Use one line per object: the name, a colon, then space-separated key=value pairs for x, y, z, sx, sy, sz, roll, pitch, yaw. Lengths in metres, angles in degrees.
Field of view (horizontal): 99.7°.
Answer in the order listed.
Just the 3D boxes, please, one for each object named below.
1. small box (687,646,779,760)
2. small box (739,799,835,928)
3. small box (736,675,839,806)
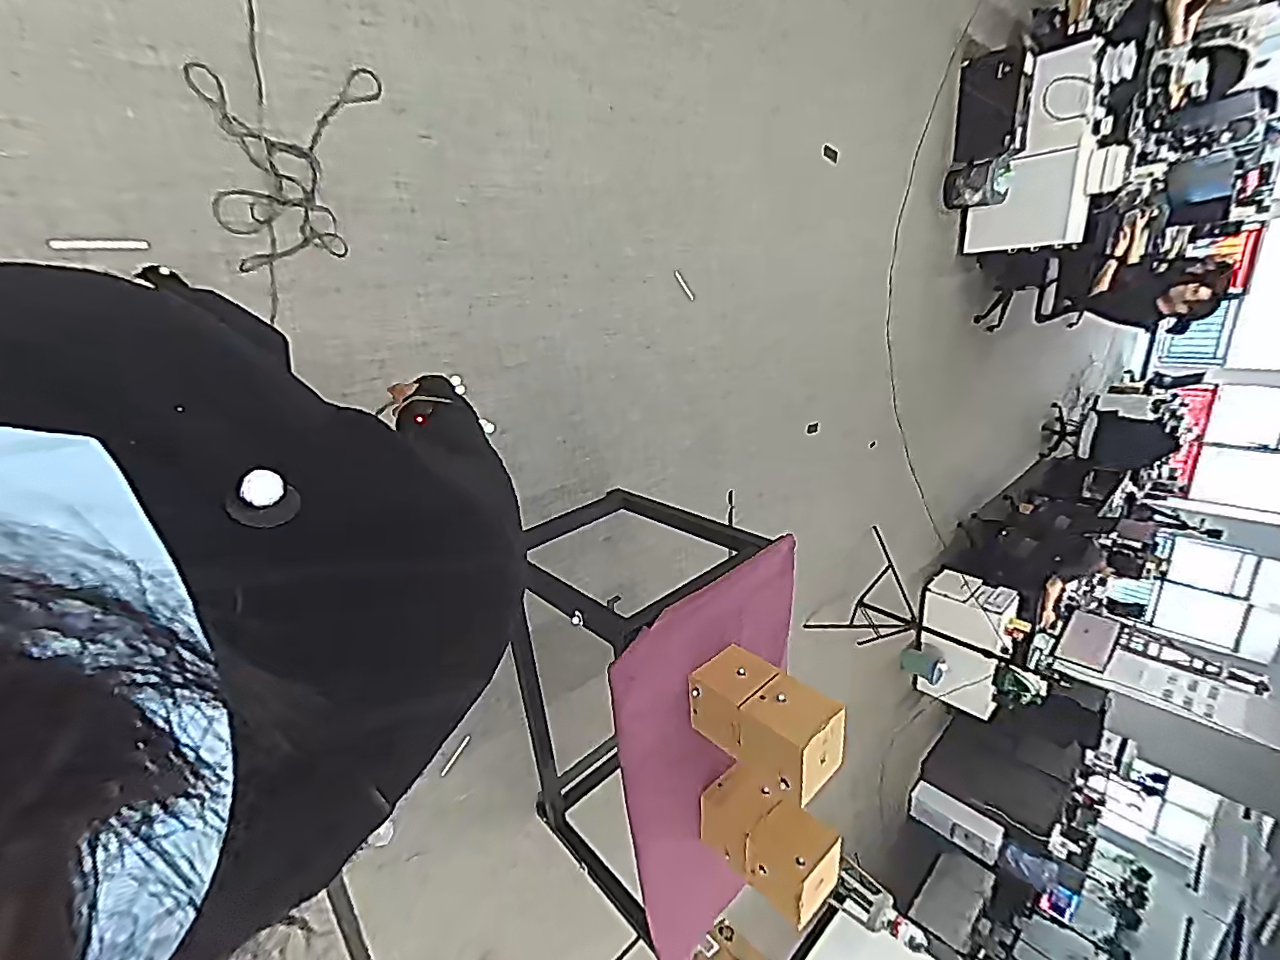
small box: x=0.231 y=0.554 z=1.369 sx=0.179 sy=0.176 sz=0.168 roll=-21 pitch=116 yaw=-38
small box: x=0.377 y=0.977 z=1.398 sx=0.179 sy=0.176 sz=0.168 roll=-18 pitch=114 yaw=-38
small box: x=0.334 y=0.588 z=1.244 sx=0.168 sy=0.176 sz=0.179 roll=-21 pitch=116 yaw=-37
